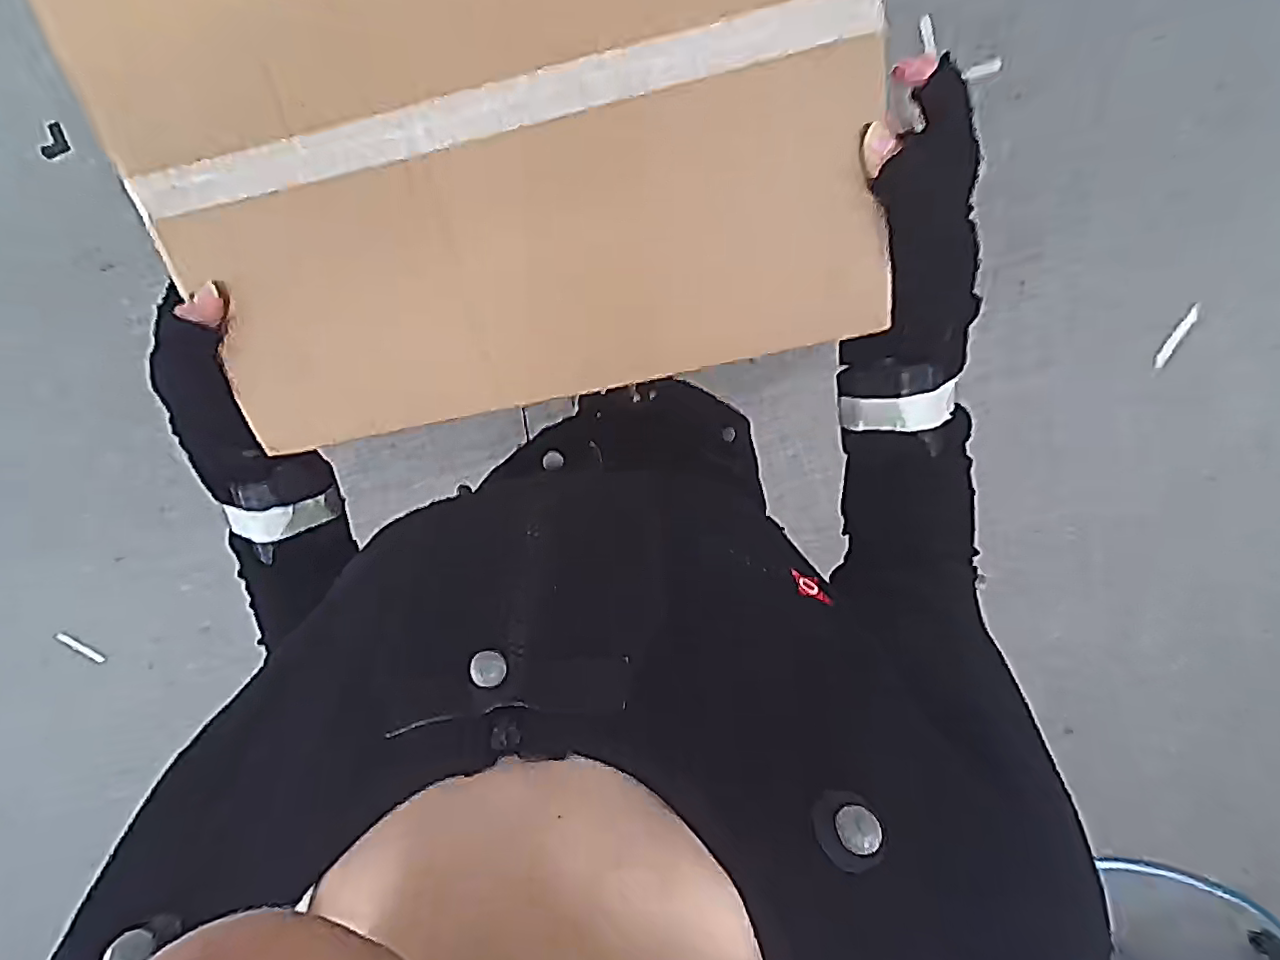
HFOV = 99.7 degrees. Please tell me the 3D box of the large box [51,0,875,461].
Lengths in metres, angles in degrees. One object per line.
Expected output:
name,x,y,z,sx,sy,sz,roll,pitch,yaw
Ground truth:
large box,-0.078,-0.249,0.430,0.408,0.320,0.320,-11,112,5
